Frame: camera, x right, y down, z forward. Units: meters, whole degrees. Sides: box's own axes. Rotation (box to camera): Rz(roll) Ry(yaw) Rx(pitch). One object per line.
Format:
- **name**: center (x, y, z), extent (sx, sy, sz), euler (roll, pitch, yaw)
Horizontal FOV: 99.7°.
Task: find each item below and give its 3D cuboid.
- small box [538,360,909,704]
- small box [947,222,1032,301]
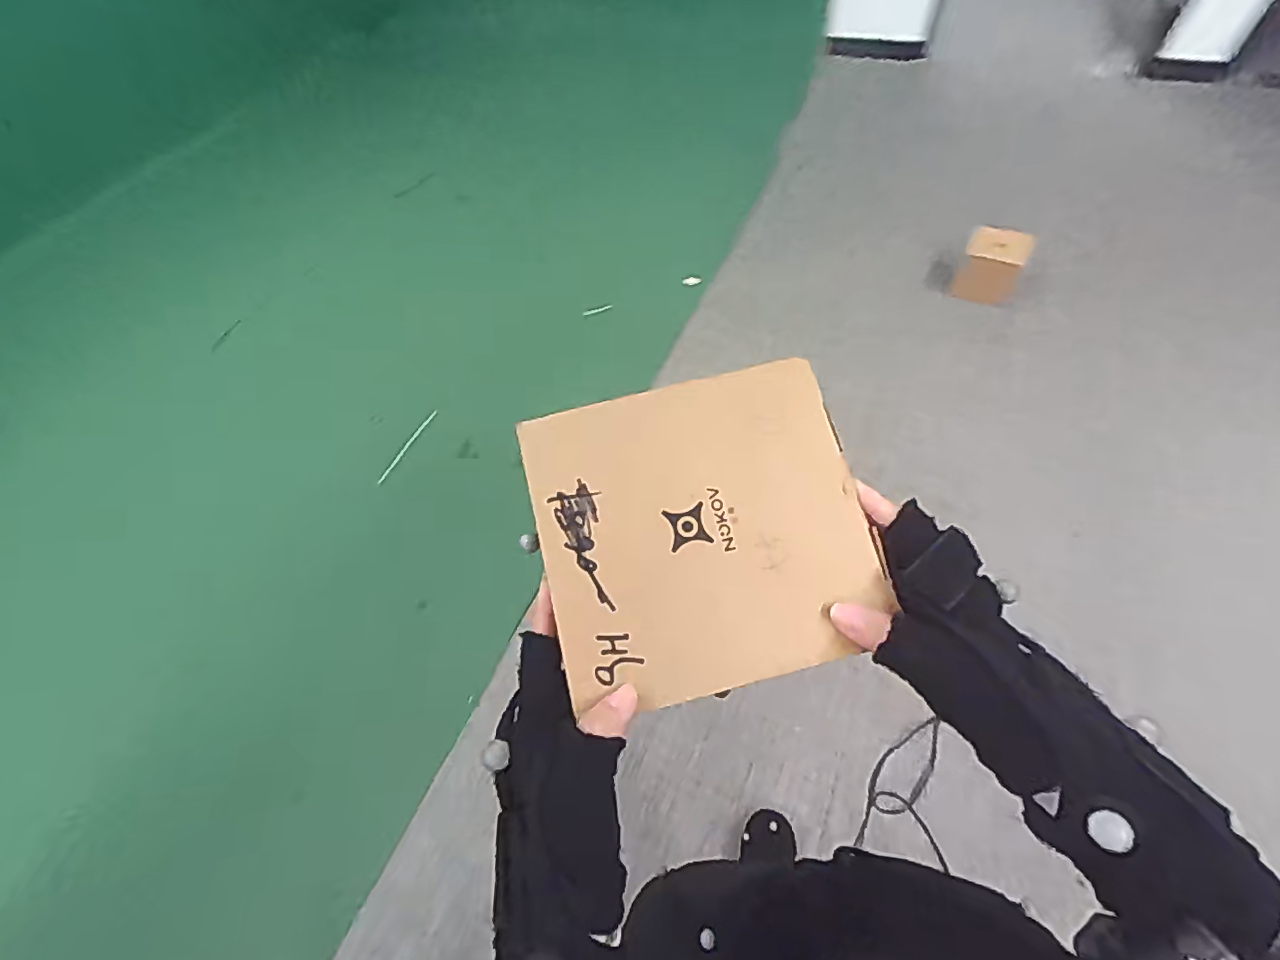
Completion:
- **small box**: center (0.040, 0.043, 0.372), extent (0.179, 0.176, 0.168), euler (-12, 73, -3)
- **small box**: center (1.165, -0.726, 1.811), extent (0.179, 0.176, 0.168), euler (21, 64, 20)
